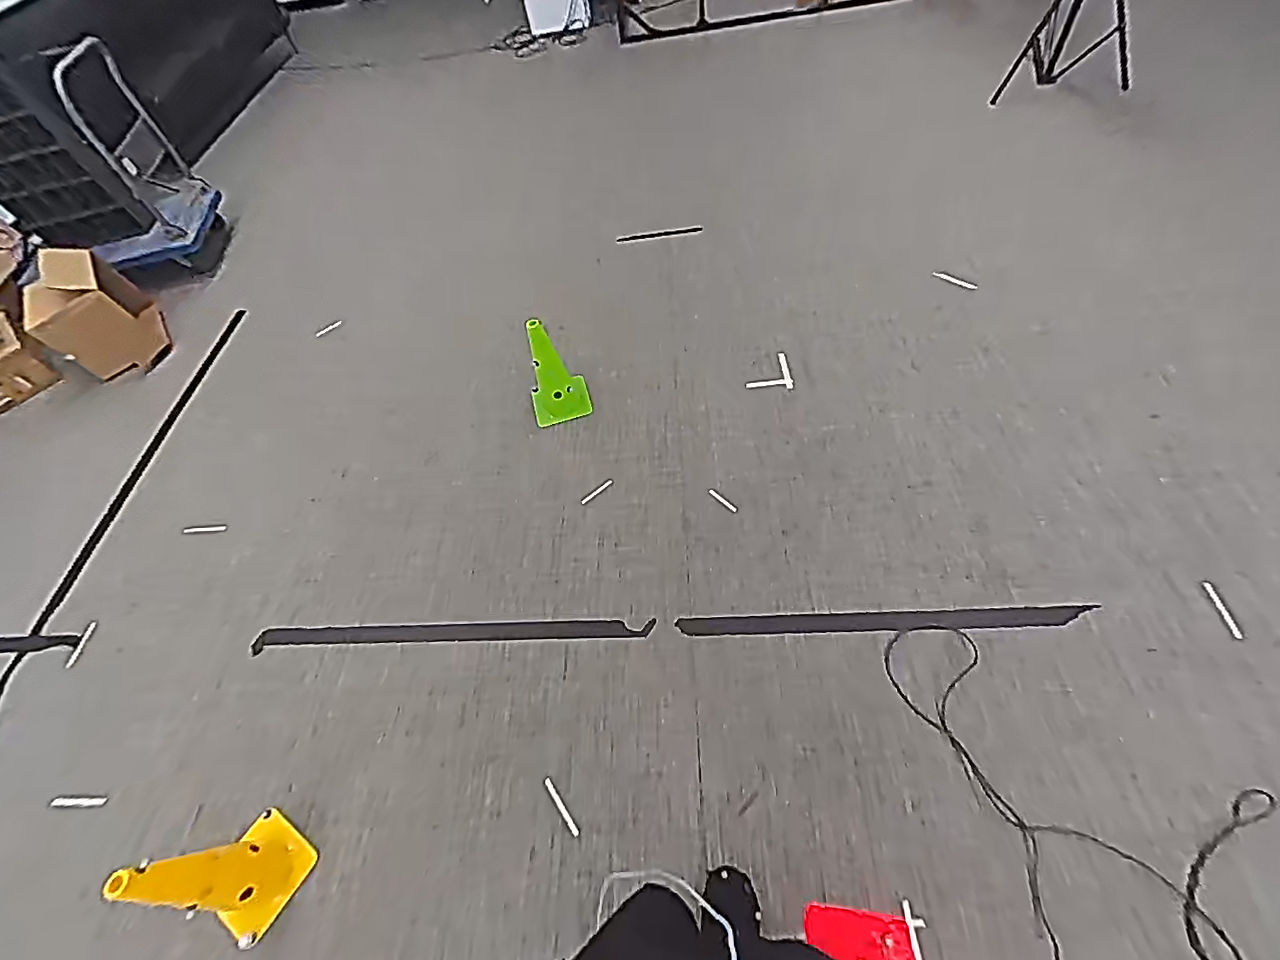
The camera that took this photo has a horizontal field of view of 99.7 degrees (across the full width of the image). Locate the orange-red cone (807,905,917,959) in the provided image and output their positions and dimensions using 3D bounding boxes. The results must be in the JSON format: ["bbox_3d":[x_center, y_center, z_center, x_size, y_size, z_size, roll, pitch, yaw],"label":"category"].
[{"bbox_3d":[0.388,0.830,0.865,0.199,0.360,0.198,2,55,12],"label":"orange-red cone"}]

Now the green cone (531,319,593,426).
[{"bbox_3d":[-0.302,-0.382,1.818,0.202,0.368,0.200,-16,55,-3],"label":"green cone"}]
